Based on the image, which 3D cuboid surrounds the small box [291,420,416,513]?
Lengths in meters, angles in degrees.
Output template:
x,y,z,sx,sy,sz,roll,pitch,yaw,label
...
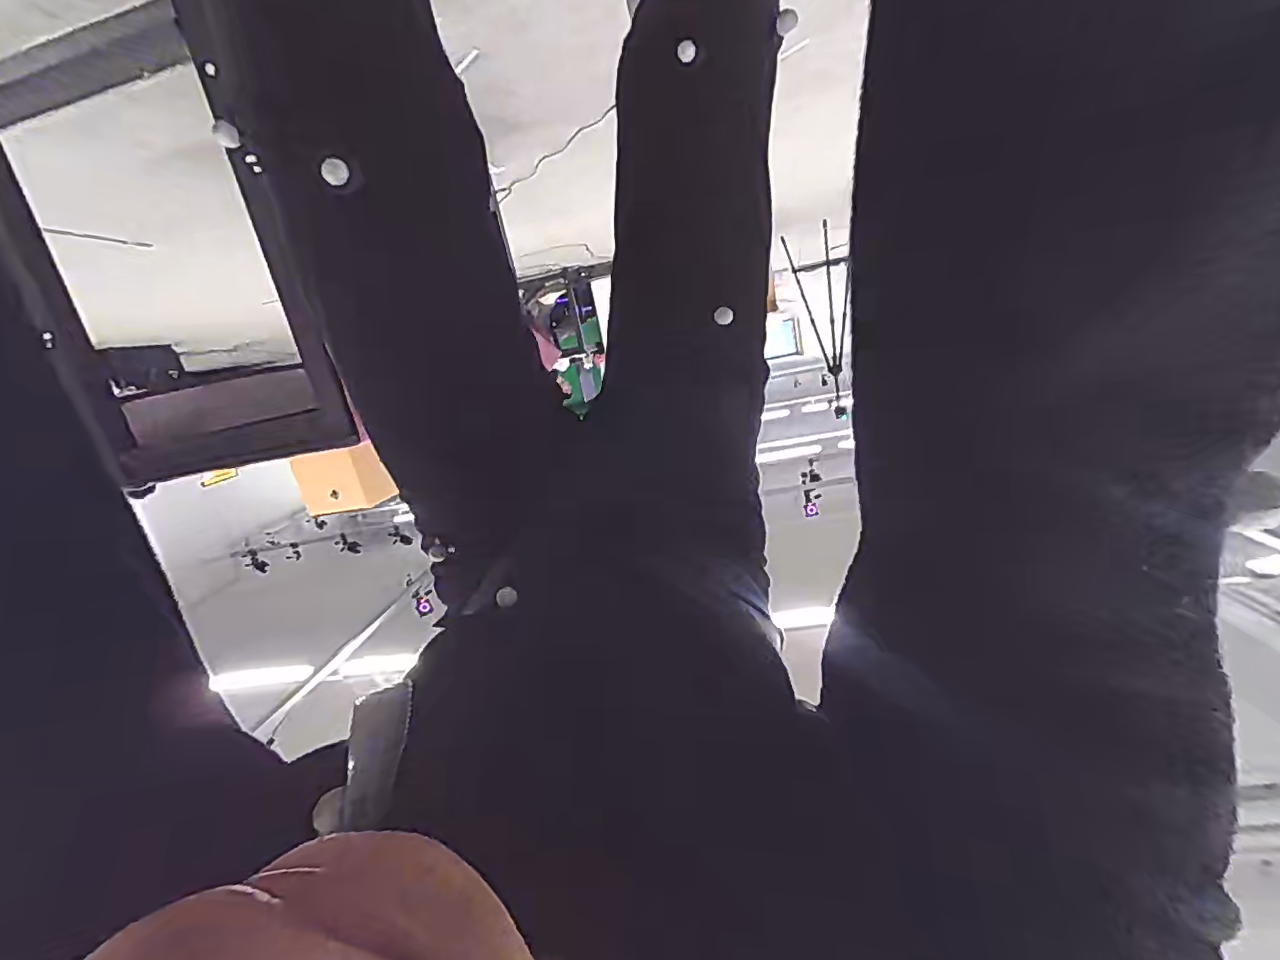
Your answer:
x,y,z,sx,sy,sz,roll,pitch,yaw,label
-0.675,-0.038,1.279,0.179,0.176,0.168,-7,-164,17,small box
